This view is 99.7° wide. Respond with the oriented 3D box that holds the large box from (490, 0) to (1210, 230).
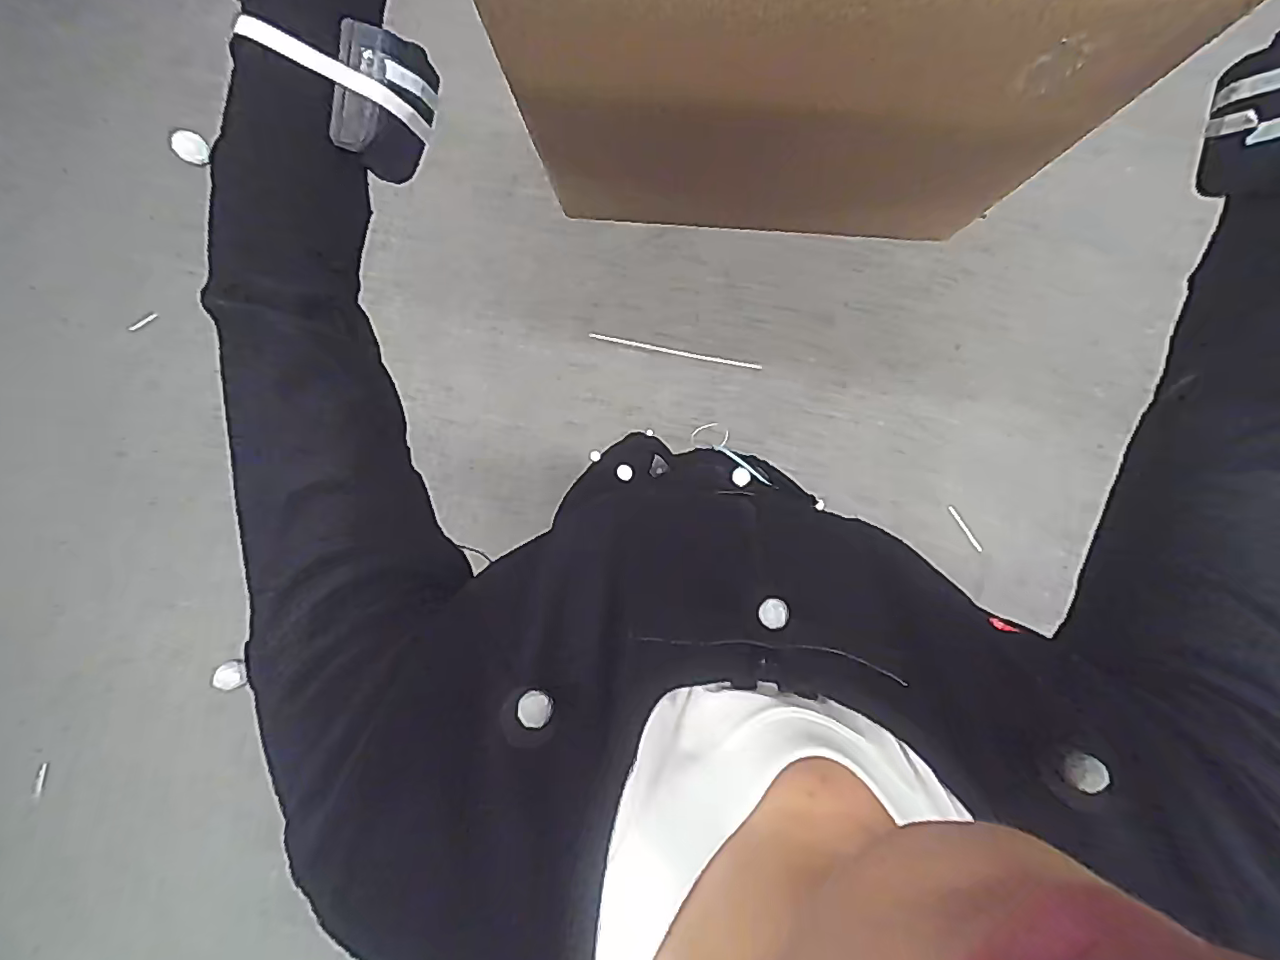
[{"bbox_3d":[0.119,-0.416,0.418,0.408,0.320,0.320,4,93,1],"label":"large box"}]
